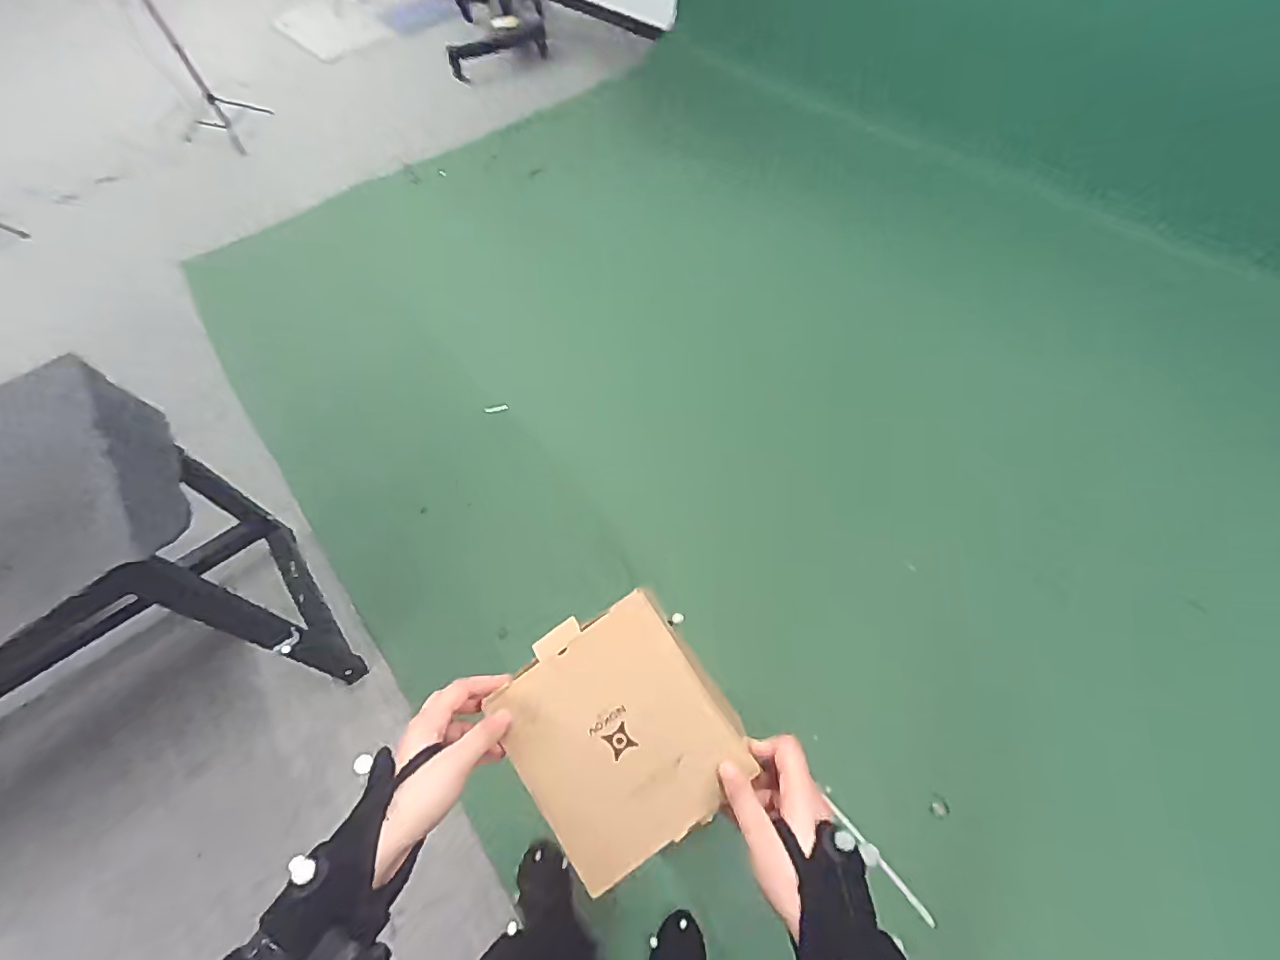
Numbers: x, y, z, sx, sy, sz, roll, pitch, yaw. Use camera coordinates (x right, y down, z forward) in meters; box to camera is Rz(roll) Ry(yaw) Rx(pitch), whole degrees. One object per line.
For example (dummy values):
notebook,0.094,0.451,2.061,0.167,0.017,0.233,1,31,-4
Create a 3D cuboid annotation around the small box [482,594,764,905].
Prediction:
small box,-0.013,0.226,0.508,0.168,0.176,0.179,-36,79,-3
